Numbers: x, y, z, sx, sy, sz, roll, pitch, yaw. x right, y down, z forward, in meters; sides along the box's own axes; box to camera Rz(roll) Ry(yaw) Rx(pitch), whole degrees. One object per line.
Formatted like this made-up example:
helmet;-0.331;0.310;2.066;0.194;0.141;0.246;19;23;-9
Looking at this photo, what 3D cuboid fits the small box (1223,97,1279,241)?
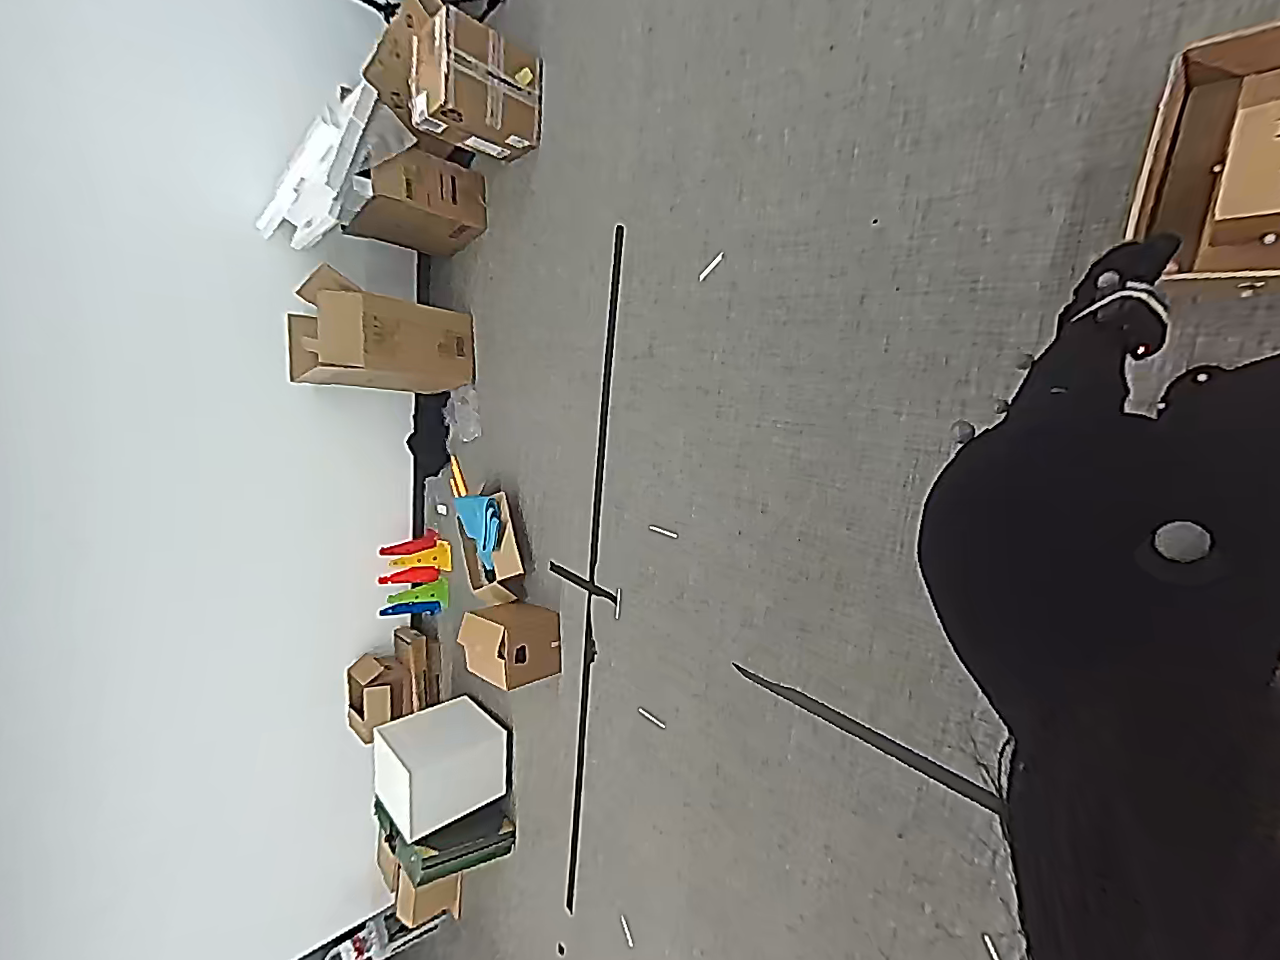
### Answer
small box;1.093;-0.513;0.885;0.168;0.176;0.179;13;102;45
